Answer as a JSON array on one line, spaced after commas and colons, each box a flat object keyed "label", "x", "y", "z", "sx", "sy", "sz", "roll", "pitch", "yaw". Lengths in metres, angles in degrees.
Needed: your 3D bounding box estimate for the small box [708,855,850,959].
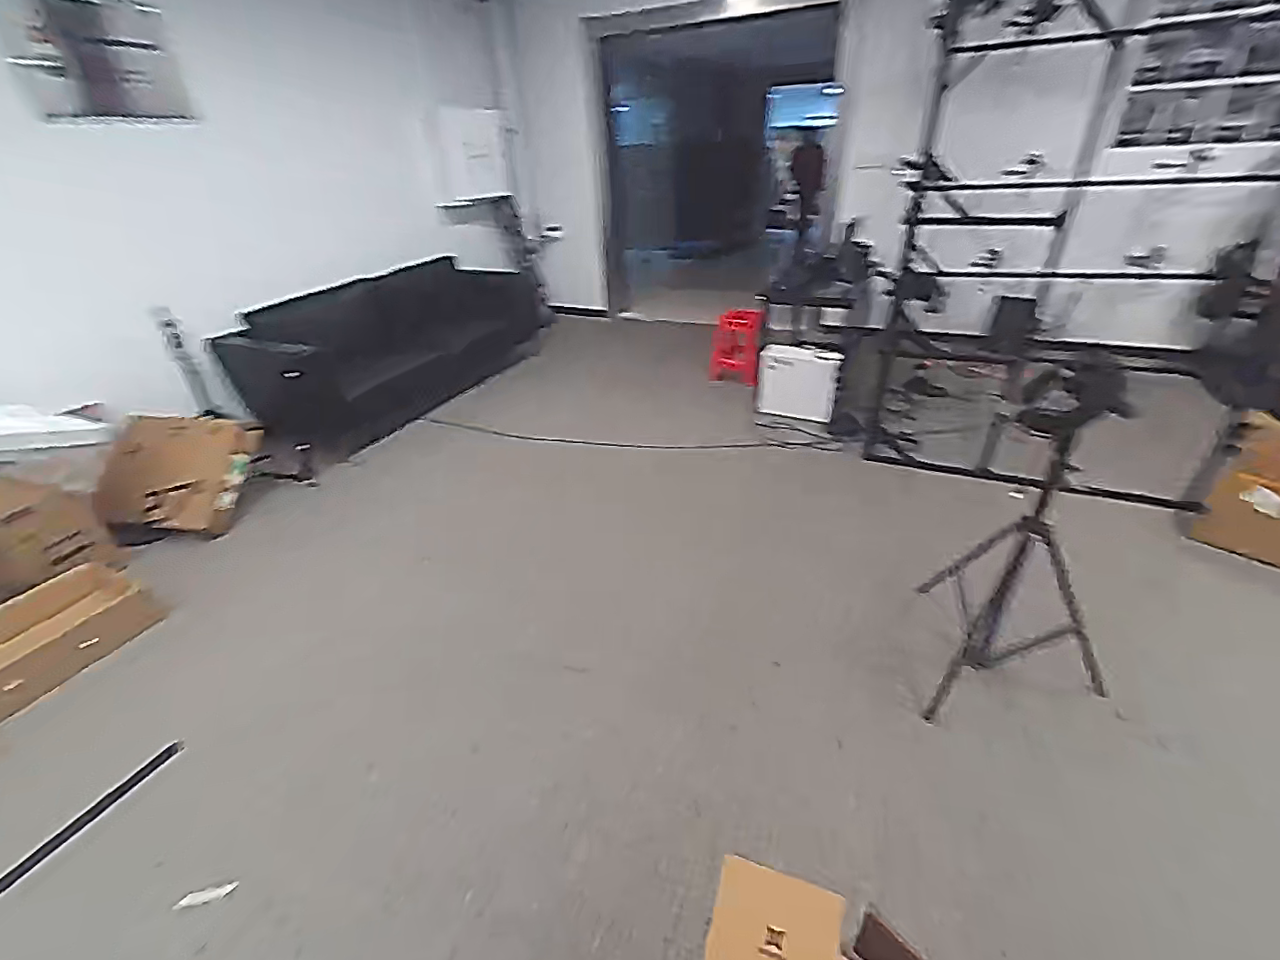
[{"label": "small box", "x": 0.186, "y": 0.673, "z": 0.744, "sx": 0.168, "sy": 0.176, "sz": 0.179, "roll": 7, "pitch": 36, "yaw": 21}]
